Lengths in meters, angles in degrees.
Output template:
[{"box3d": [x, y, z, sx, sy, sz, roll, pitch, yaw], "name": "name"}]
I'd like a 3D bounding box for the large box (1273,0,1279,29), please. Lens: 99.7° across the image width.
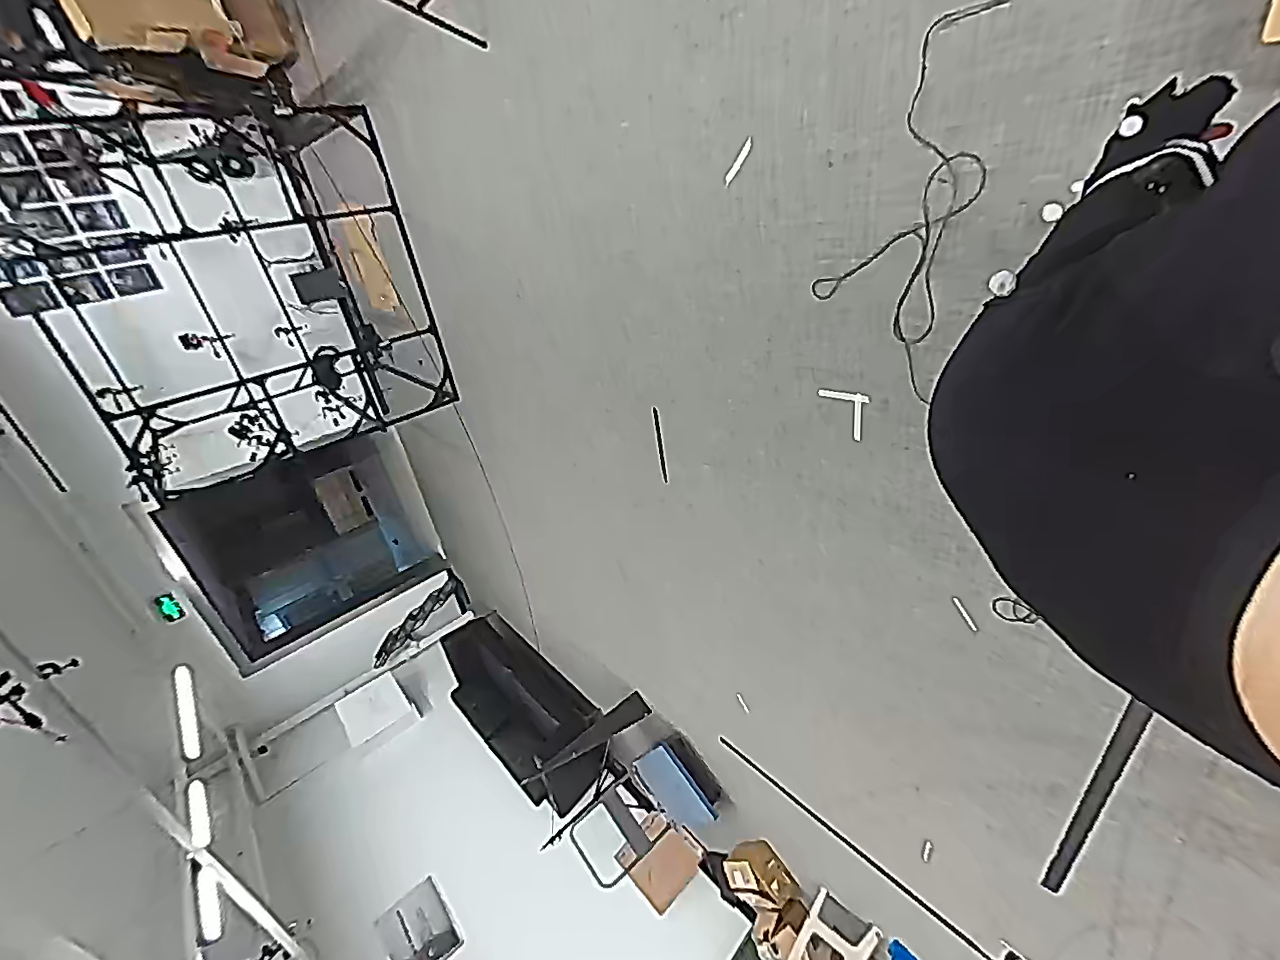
[{"box3d": [1.011, -0.716, 0.556, 0.408, 0.320, 0.320, 21, 131, 45], "name": "large box"}]
